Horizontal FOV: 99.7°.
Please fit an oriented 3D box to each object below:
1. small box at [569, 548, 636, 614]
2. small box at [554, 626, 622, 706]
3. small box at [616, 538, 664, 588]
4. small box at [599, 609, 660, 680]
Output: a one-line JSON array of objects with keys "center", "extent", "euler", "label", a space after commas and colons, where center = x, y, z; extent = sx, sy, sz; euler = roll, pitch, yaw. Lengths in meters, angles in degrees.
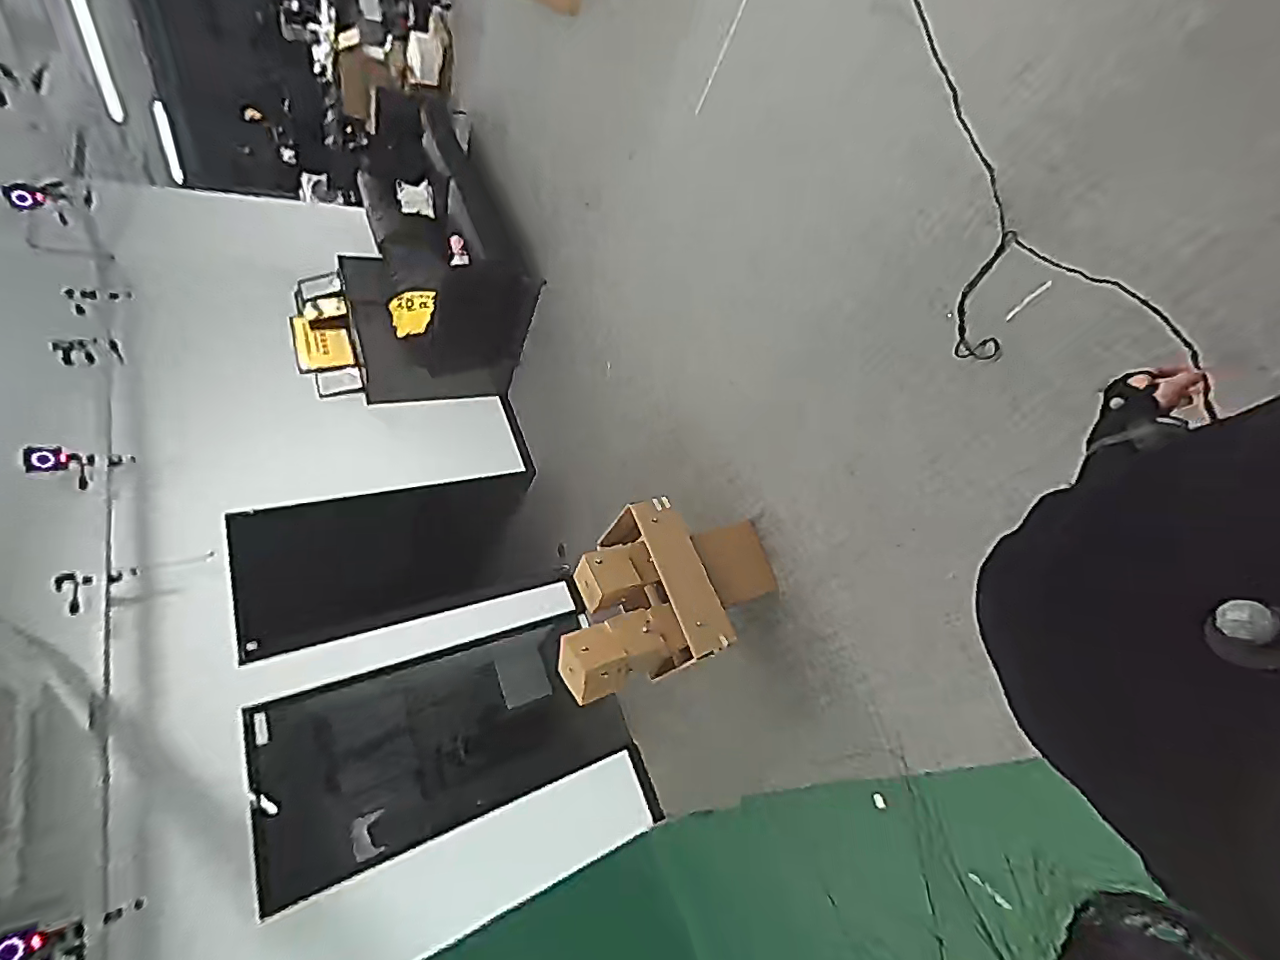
[{"center": [-0.141, 0.371, 2.025], "extent": [0.179, 0.176, 0.168], "euler": [59, 144, 27], "label": "small box"}, {"center": [-0.177, 0.627, 1.850], "extent": [0.179, 0.176, 0.168], "euler": [41, 130, 45], "label": "small box"}, {"center": [-0.021, 0.339, 2.139], "extent": [0.179, 0.176, 0.168], "euler": [-37, 68, 54], "label": "small box"}, {"center": [-0.051, 0.597, 1.950], "extent": [0.168, 0.176, 0.179], "euler": [53, 139, 34], "label": "small box"}]
